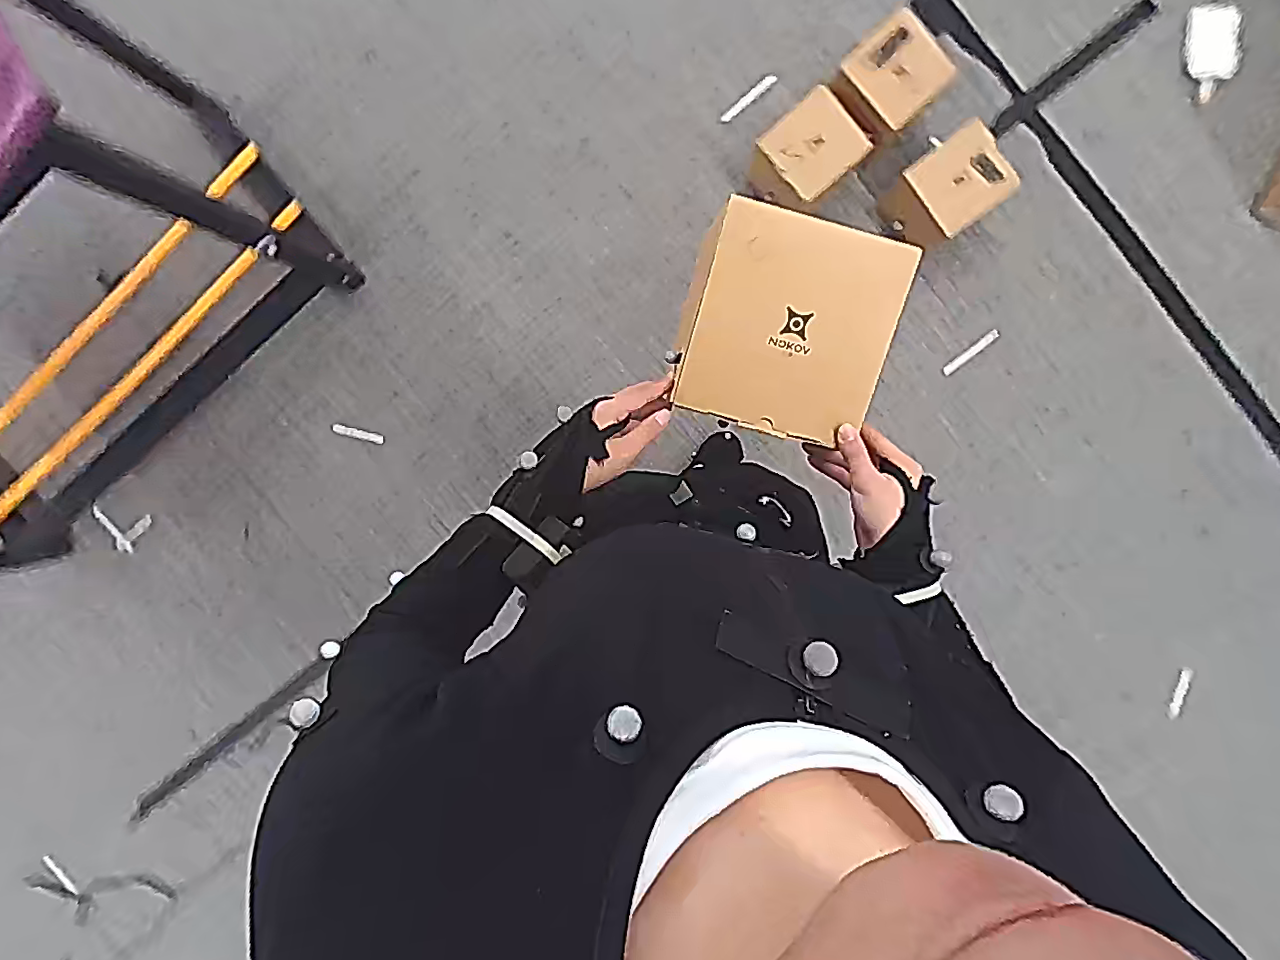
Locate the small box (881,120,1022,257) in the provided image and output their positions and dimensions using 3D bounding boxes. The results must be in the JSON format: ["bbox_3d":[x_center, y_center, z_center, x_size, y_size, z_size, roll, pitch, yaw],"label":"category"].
[{"bbox_3d":[0.670,-0.626,1.185,0.179,0.176,0.168,-36,93,7],"label":"small box"}]

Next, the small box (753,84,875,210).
[{"bbox_3d":[0.371,-0.703,1.192,0.179,0.176,0.168,-39,92,7],"label":"small box"}]

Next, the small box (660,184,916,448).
[{"bbox_3d":[0.120,-0.144,0.518,0.168,0.176,0.179,14,101,-4],"label":"small box"}]
